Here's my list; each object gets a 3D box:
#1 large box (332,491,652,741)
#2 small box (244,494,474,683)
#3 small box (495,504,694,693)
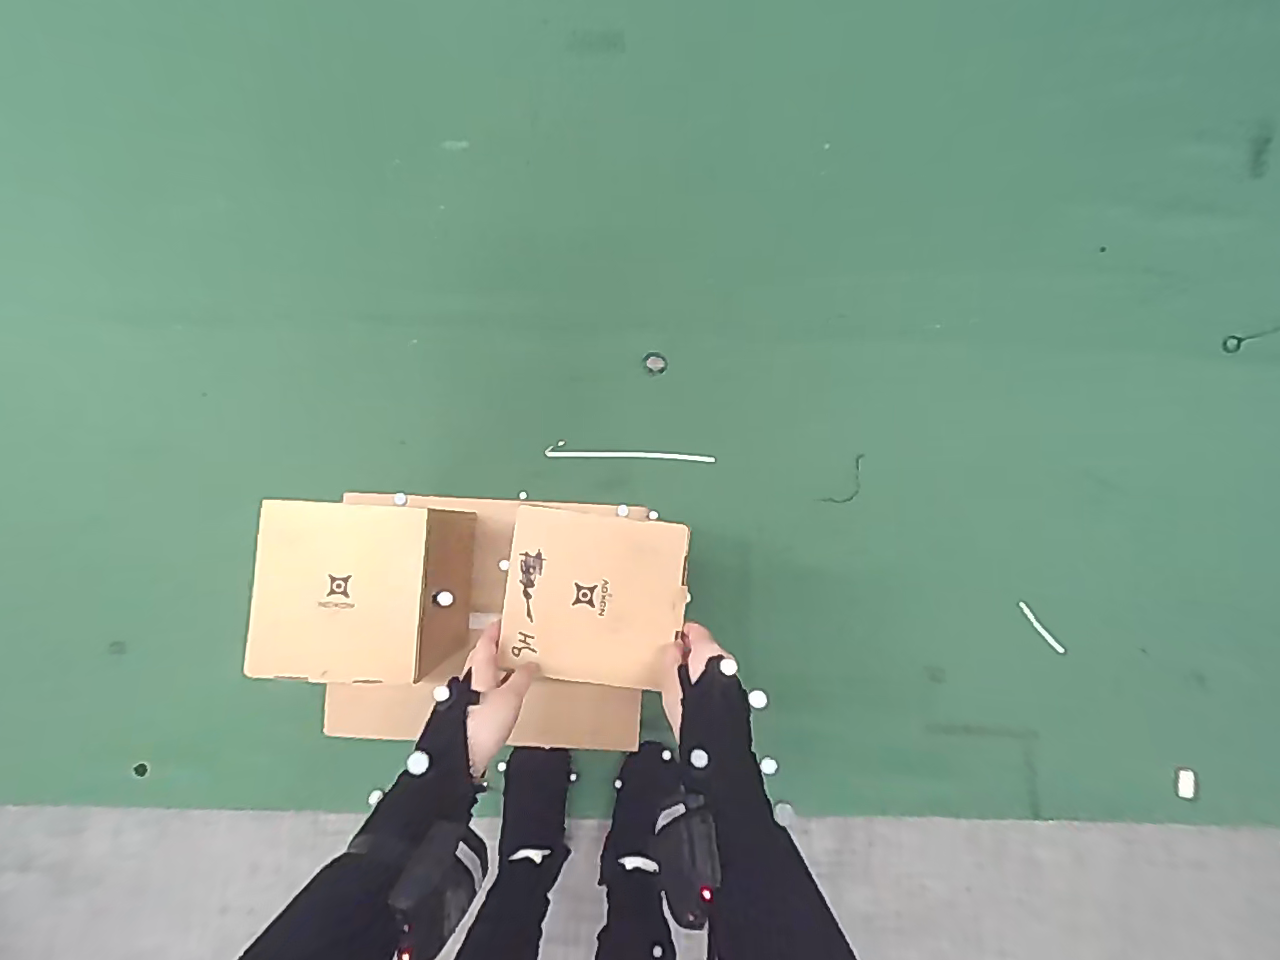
[{"bbox_3d":[-0.191,0.187,0.843,0.408,0.320,0.320,2,86,-1],"label":"large box"},{"bbox_3d":[-0.293,0.112,0.604,0.168,0.176,0.179,2,85,0],"label":"small box"},{"bbox_3d":[-0.044,0.119,0.602,0.179,0.176,0.168,7,85,0],"label":"small box"}]
